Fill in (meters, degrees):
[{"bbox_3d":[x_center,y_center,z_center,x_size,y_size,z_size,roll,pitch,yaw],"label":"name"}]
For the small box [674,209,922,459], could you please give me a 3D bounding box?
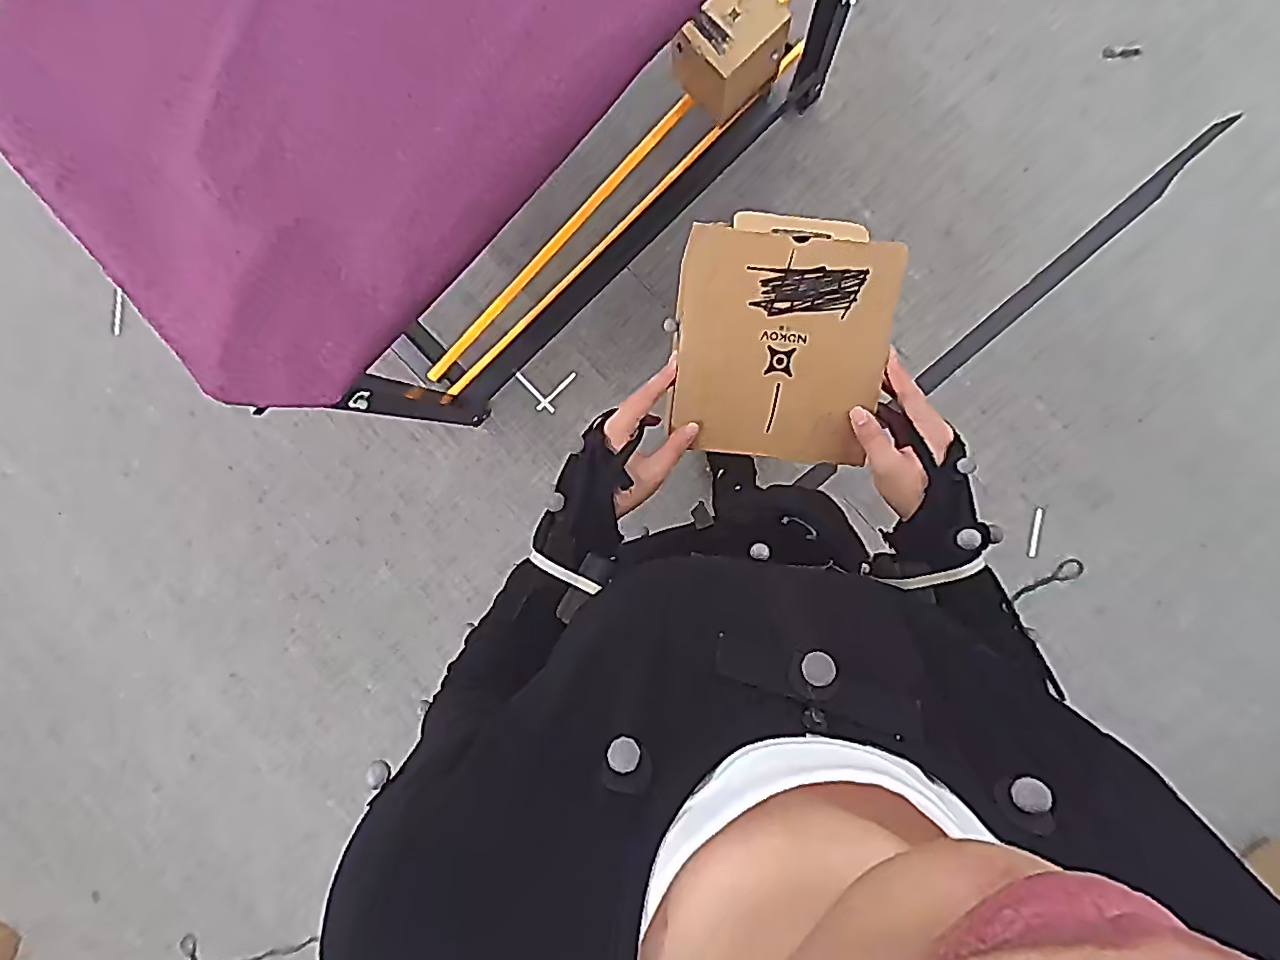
[{"bbox_3d":[0.123,-0.126,0.497,0.168,0.176,0.179,6,103,0],"label":"small box"}]
